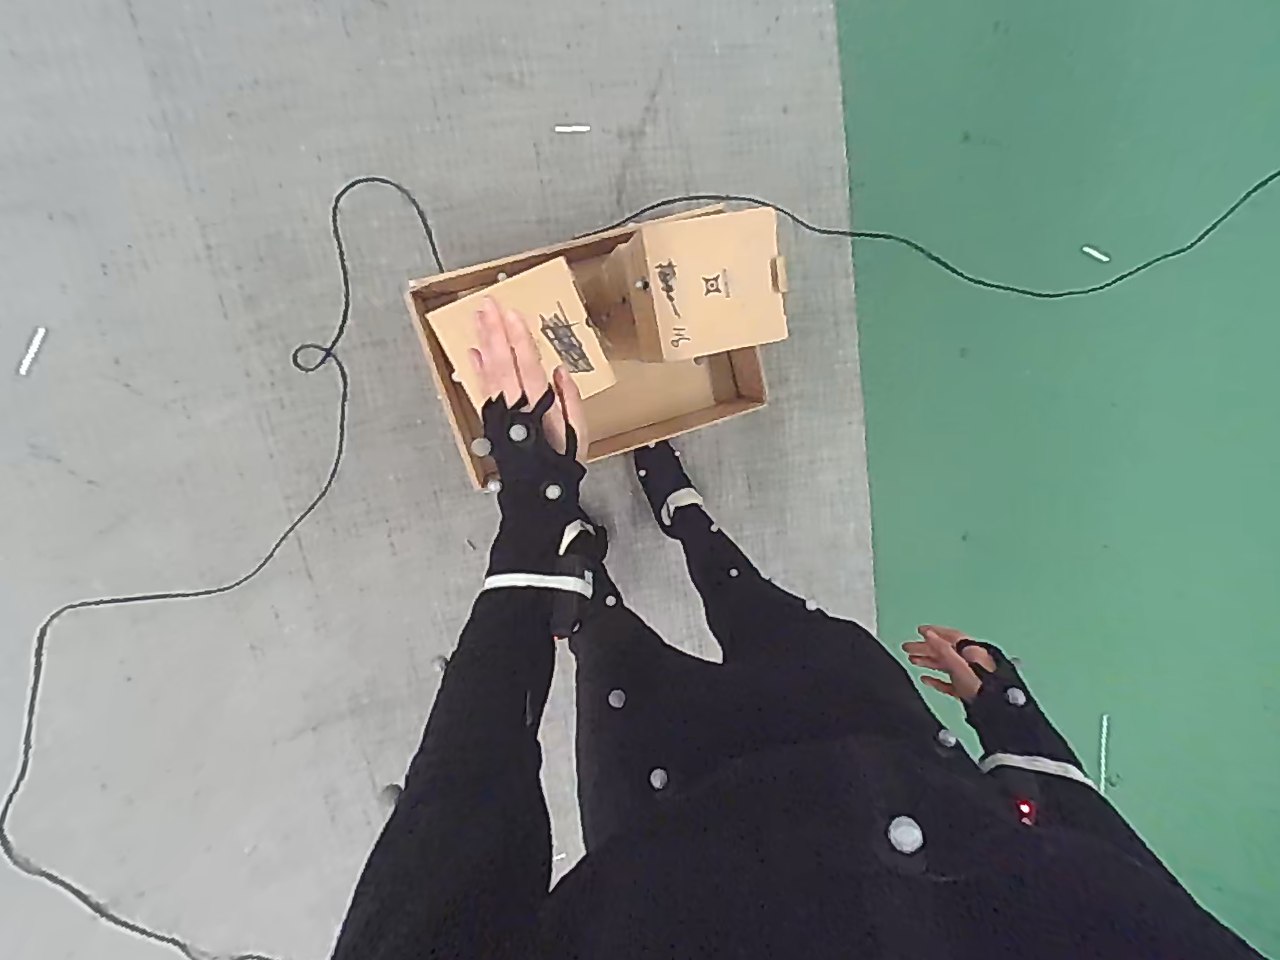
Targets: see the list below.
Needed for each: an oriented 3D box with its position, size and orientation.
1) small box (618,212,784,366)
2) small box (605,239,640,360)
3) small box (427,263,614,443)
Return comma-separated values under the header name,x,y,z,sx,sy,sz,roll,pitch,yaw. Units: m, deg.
name,x,y,z,sx,sy,sz,roll,pitch,yaw
small box,0.078,-0.258,0.755,0.179,0.176,0.168,-13,104,-9
small box,0.044,-0.306,0.911,0.168,0.176,0.179,-15,105,-7
small box,-0.158,-0.170,0.728,0.179,0.176,0.168,-26,107,-6
